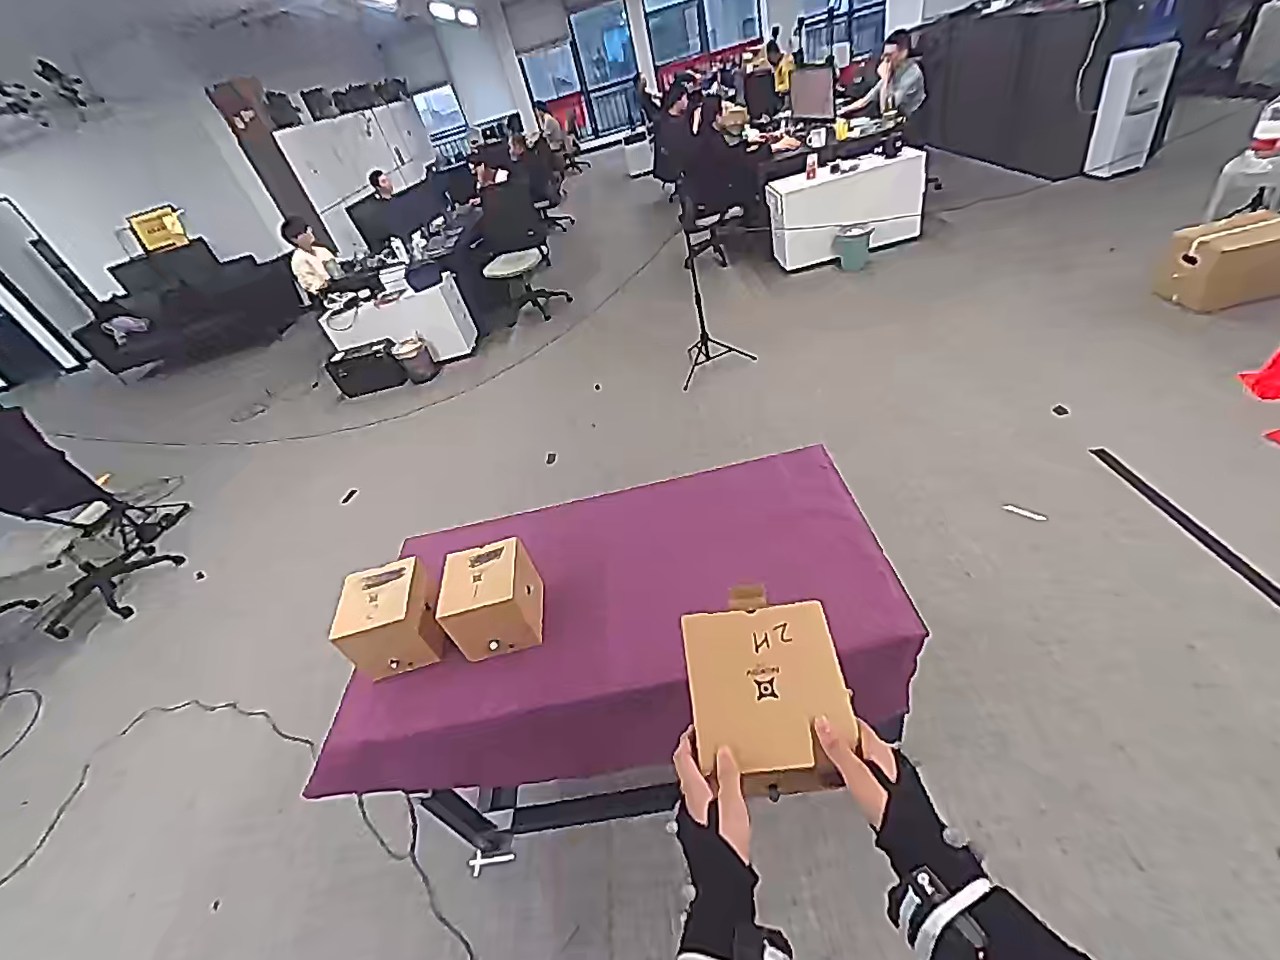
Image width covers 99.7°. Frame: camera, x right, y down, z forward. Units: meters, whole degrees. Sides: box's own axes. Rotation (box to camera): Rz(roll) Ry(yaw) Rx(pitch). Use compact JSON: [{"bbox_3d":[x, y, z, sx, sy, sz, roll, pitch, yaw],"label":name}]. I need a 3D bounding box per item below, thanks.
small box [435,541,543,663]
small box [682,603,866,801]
[{"bbox_3d":[-0.319,0.266,1.180,0.168,0.176,0.179,-16,39,3],"label":"small box"},{"bbox_3d":[0.145,0.268,0.638,0.168,0.176,0.179,-7,51,3],"label":"small box"}]
